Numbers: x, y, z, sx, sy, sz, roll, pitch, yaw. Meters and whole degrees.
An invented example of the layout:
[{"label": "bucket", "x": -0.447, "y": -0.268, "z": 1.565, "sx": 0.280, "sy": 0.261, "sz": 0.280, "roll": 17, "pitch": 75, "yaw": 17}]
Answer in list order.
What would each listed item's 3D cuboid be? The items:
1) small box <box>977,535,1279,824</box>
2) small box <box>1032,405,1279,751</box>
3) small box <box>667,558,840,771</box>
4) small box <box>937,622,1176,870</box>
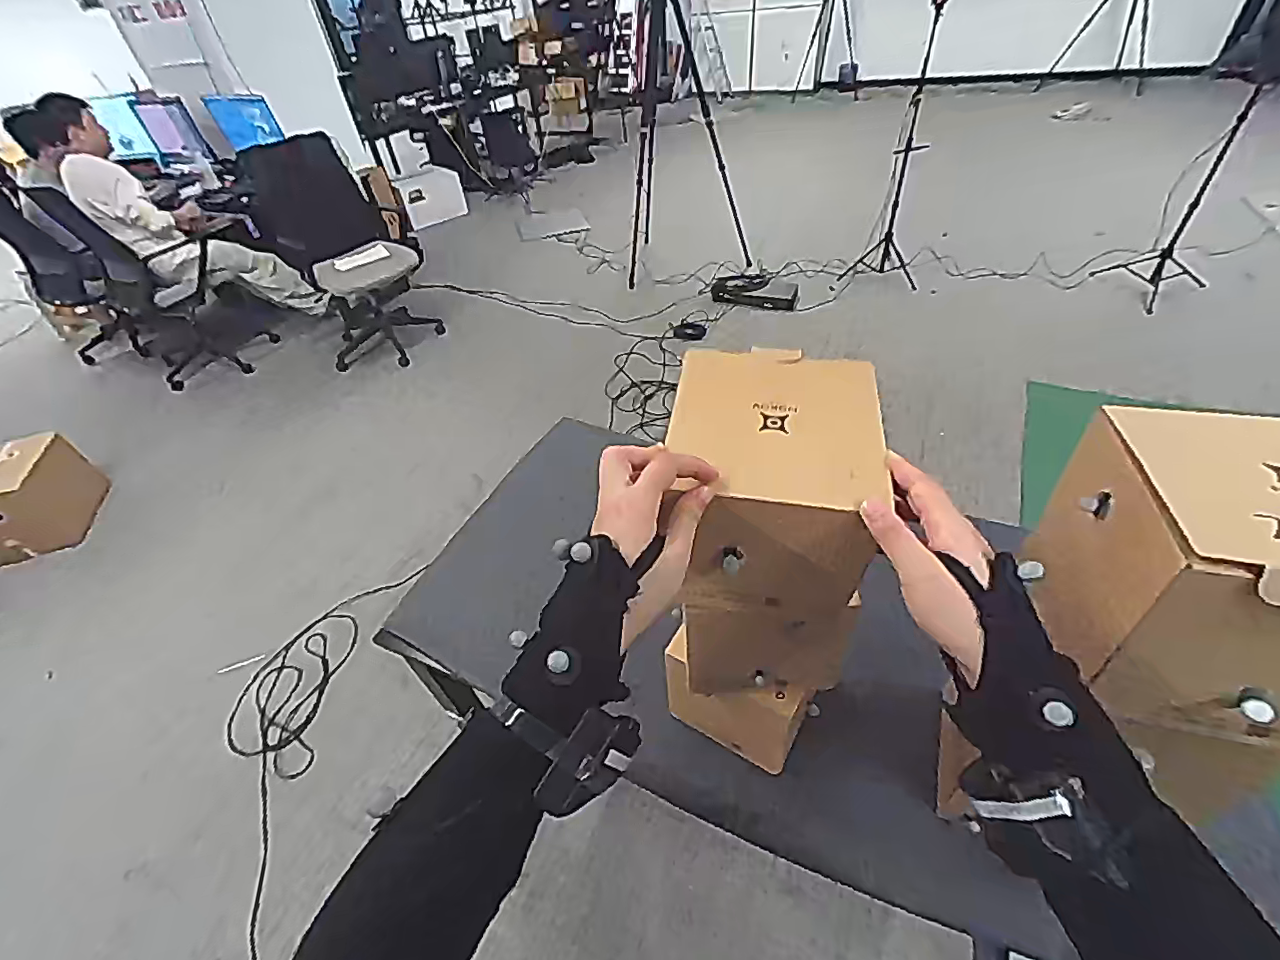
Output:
[{"label": "small box", "x": 0.438, "y": 0.184, "z": 0.514, "sx": 0.168, "sy": 0.176, "sz": 0.179, "roll": 10, "pitch": 45, "yaw": 20}, {"label": "small box", "x": 0.422, "y": 0.066, "z": 0.398, "sx": 0.168, "sy": 0.176, "sz": 0.179, "roll": 6, "pitch": 42, "yaw": 18}, {"label": "small box", "x": 0.149, "y": 0.245, "z": 0.729, "sx": 0.168, "sy": 0.176, "sz": 0.179, "roll": 20, "pitch": 48, "yaw": 27}, {"label": "small box", "x": 0.455, "y": 0.303, "z": 0.622, "sx": 0.168, "sy": 0.176, "sz": 0.179, "roll": 13, "pitch": 44, "yaw": 22}]
